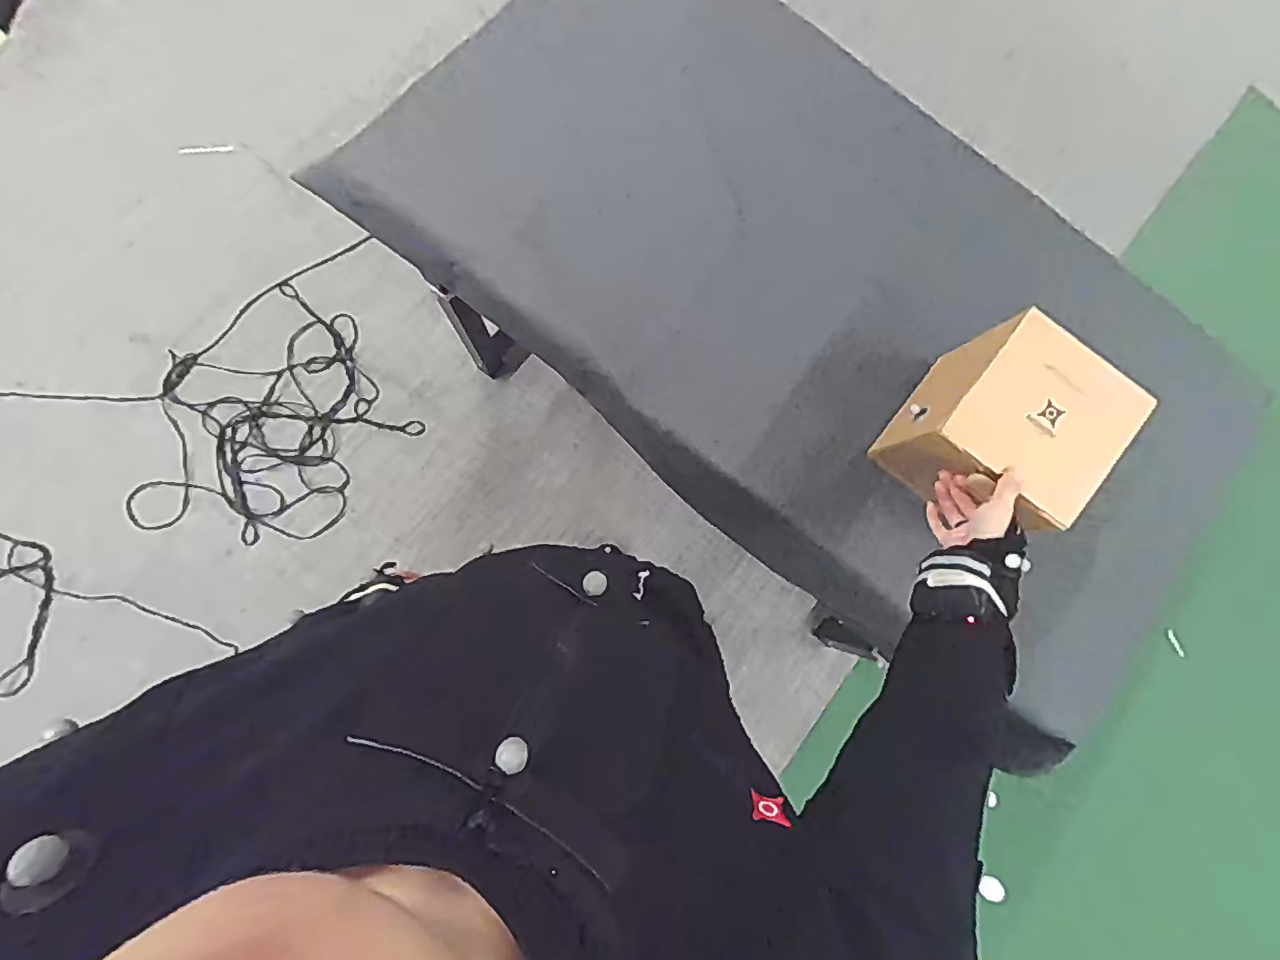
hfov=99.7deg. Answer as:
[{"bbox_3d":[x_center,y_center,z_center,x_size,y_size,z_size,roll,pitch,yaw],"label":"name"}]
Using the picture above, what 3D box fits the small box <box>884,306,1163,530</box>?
[{"bbox_3d":[0.418,-0.057,0.628,0.168,0.176,0.179,39,84,1],"label":"small box"}]
